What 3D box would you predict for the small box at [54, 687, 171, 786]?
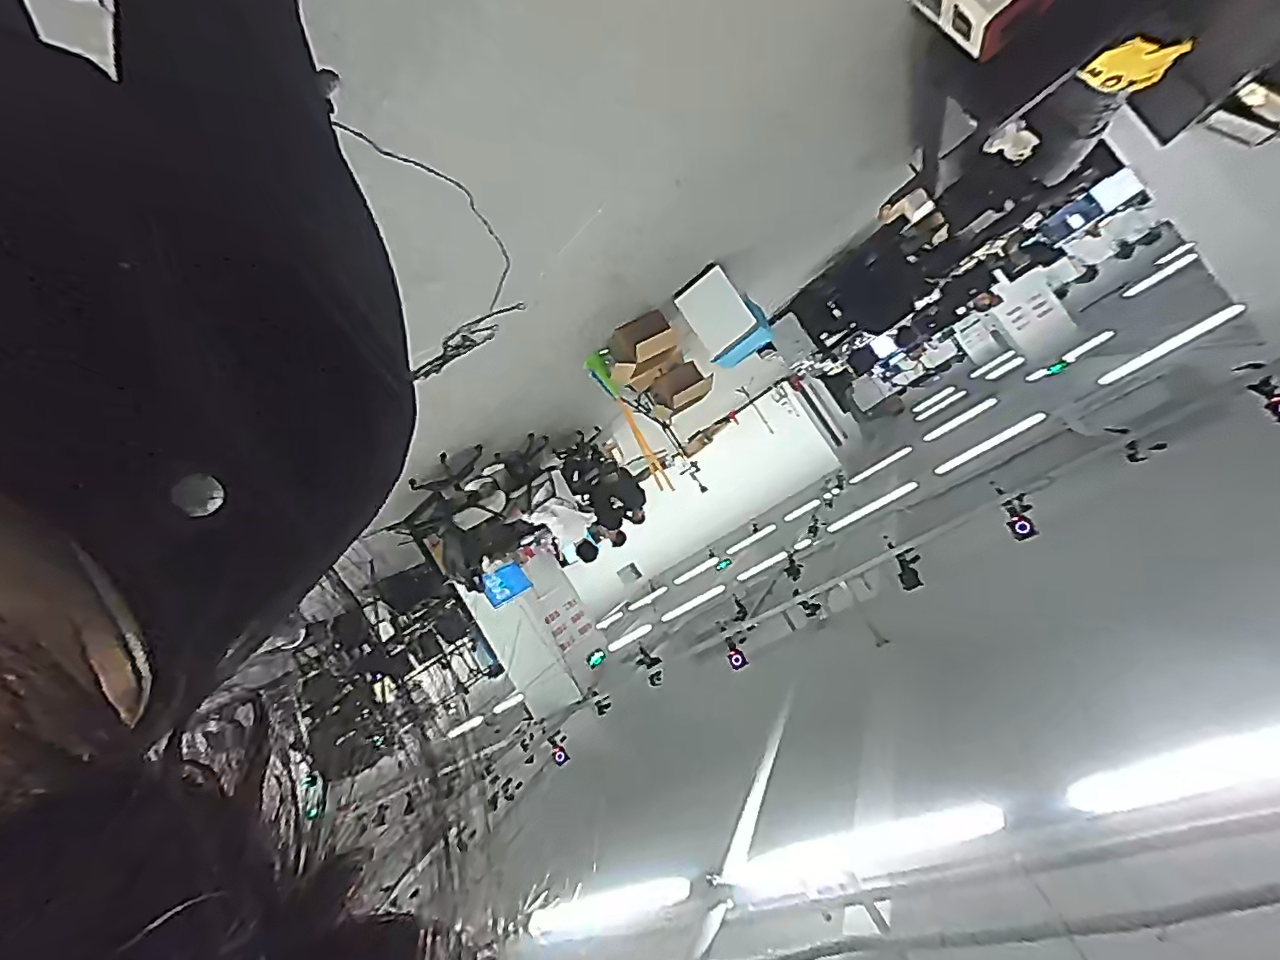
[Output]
[{"bbox_3d":[-1.500,0.718,1.535,0.179,0.176,0.168,-37,174,23],"label":"small box"}]
